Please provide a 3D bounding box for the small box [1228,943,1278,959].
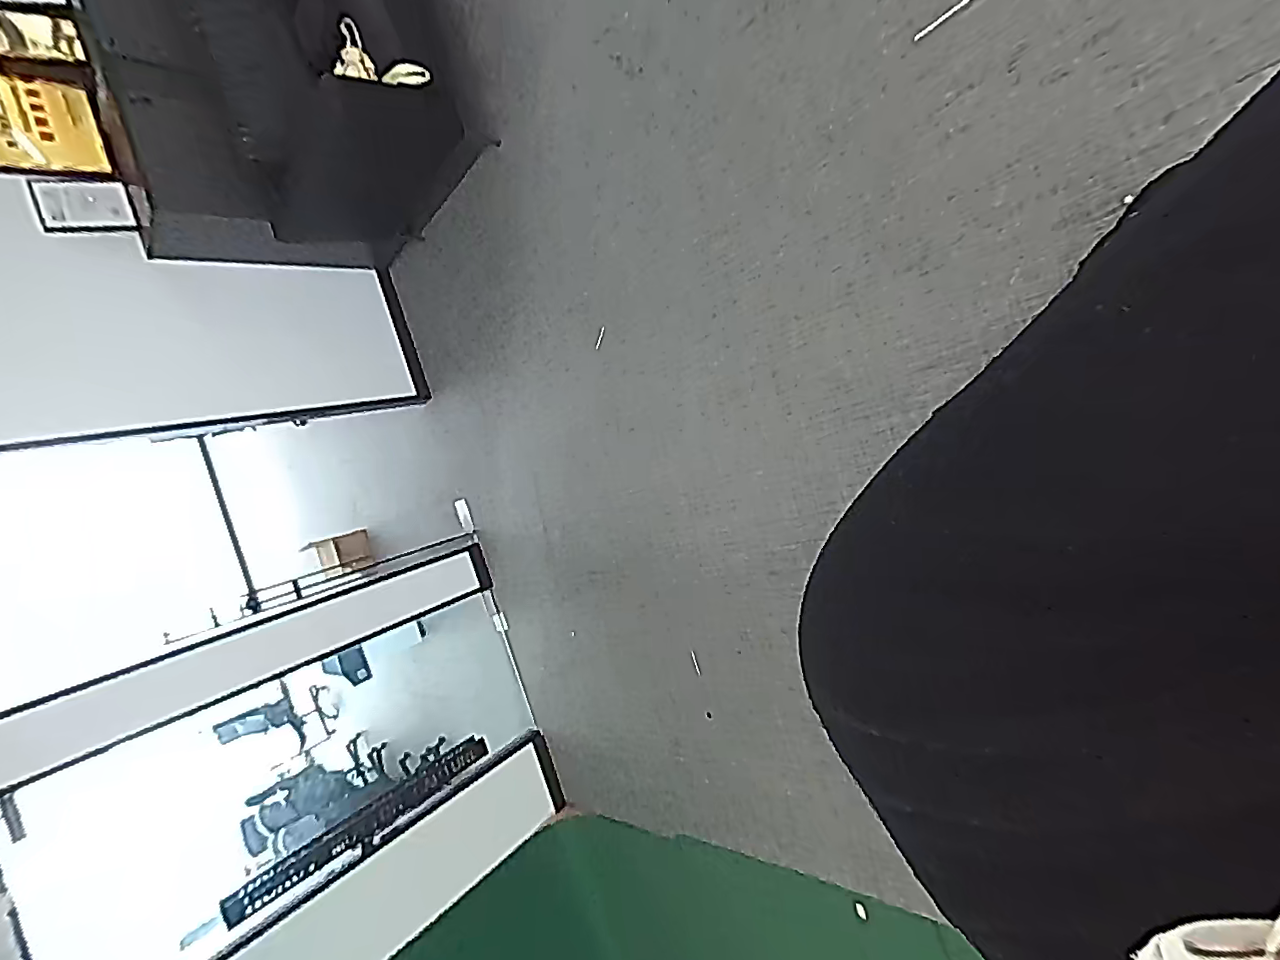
[{"bbox_3d":[1.271,1.082,1.053,0.168,0.176,0.179,3,104,43],"label":"small box"}]
